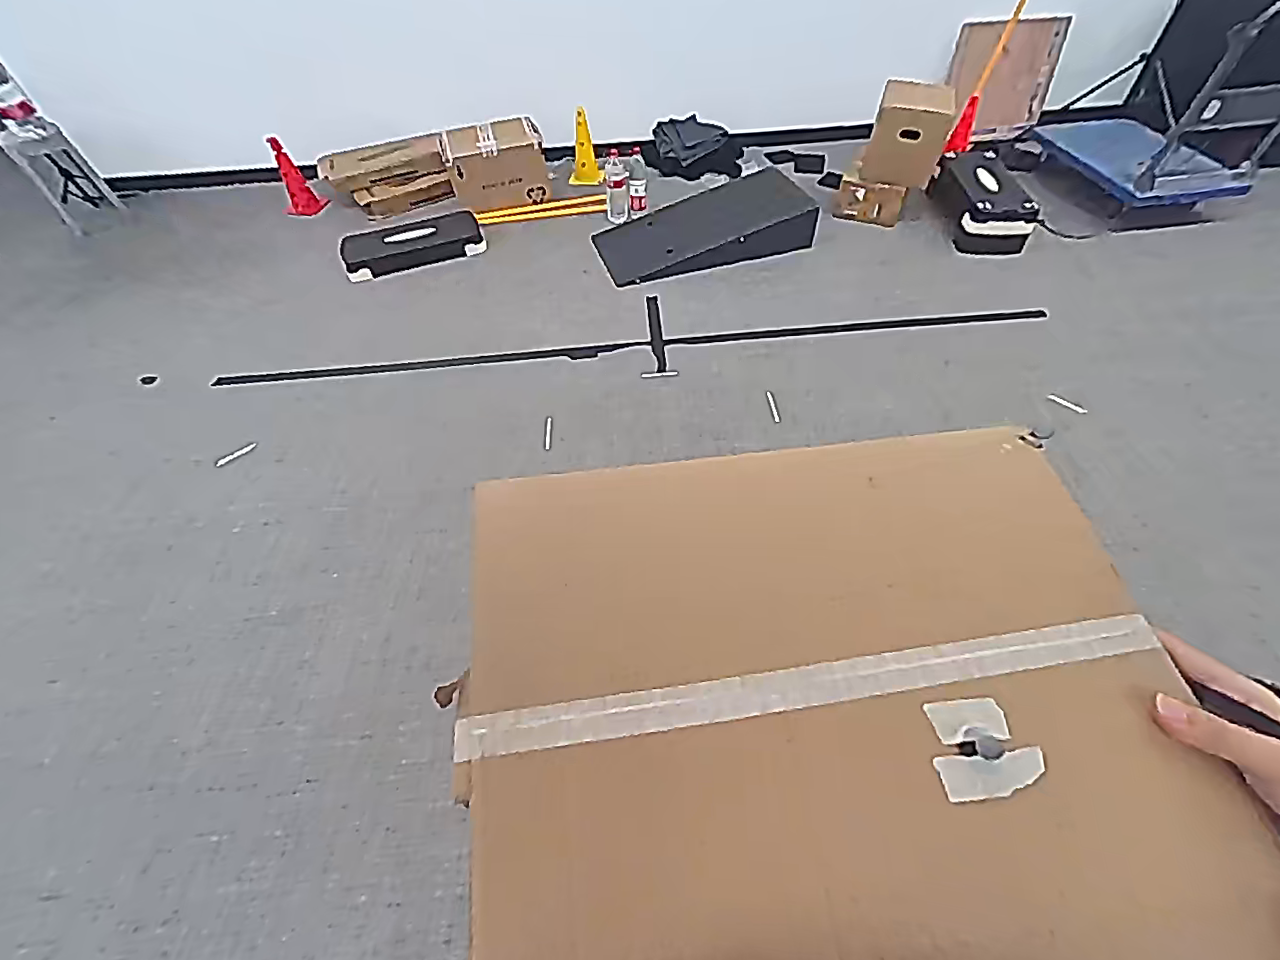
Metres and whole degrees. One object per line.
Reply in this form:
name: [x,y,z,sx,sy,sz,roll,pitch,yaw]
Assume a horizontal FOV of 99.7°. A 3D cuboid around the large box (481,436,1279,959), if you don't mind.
large box: [0.103,0.196,0.450,0.408,0.320,0.320,-7,61,-7]
